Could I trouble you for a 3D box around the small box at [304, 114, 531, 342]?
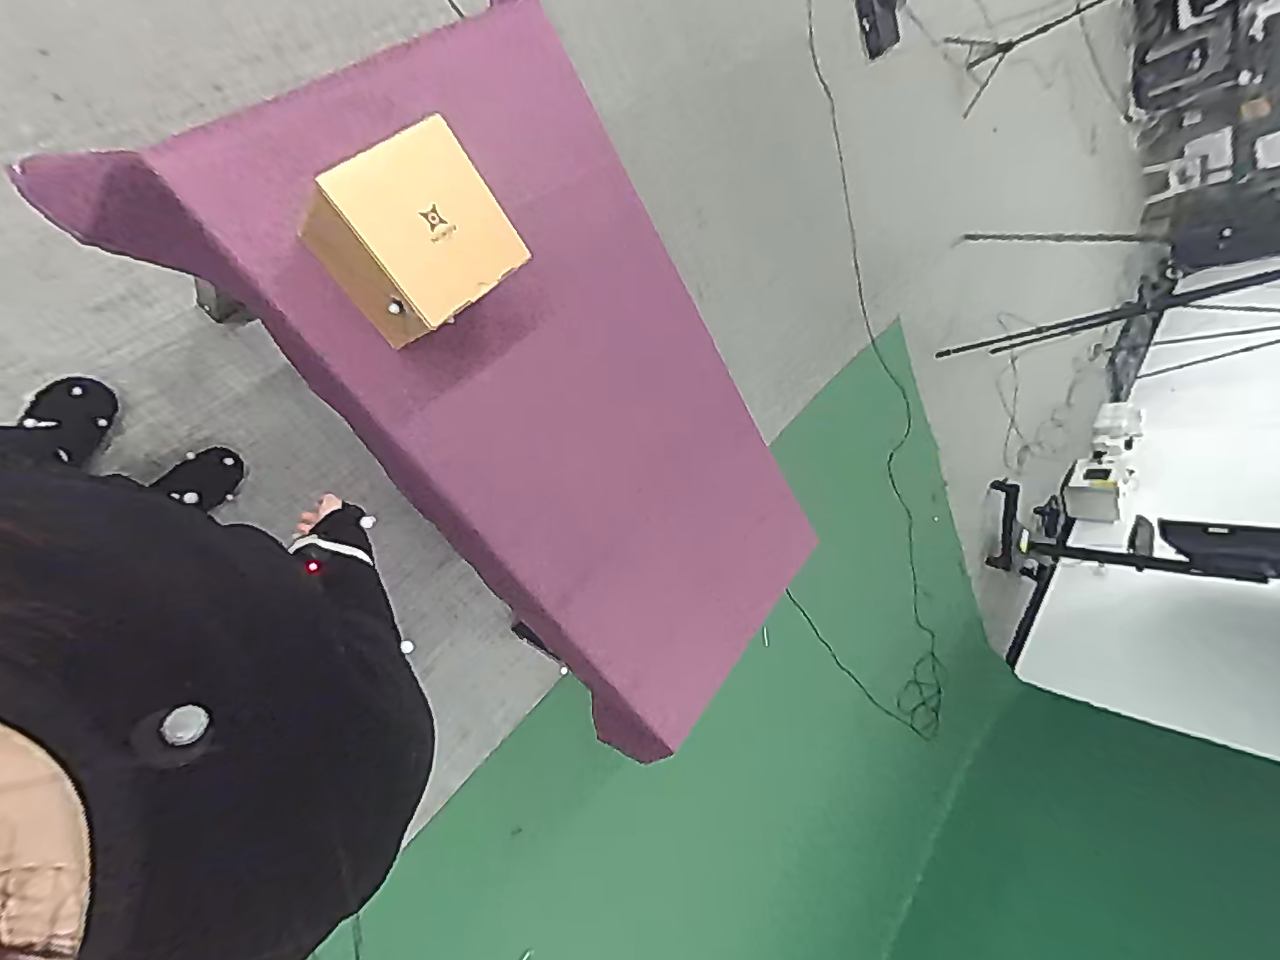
[{"bbox_3d":[-0.275,-0.293,0.663,0.168,0.176,0.179,-48,120,-25],"label":"small box"}]
